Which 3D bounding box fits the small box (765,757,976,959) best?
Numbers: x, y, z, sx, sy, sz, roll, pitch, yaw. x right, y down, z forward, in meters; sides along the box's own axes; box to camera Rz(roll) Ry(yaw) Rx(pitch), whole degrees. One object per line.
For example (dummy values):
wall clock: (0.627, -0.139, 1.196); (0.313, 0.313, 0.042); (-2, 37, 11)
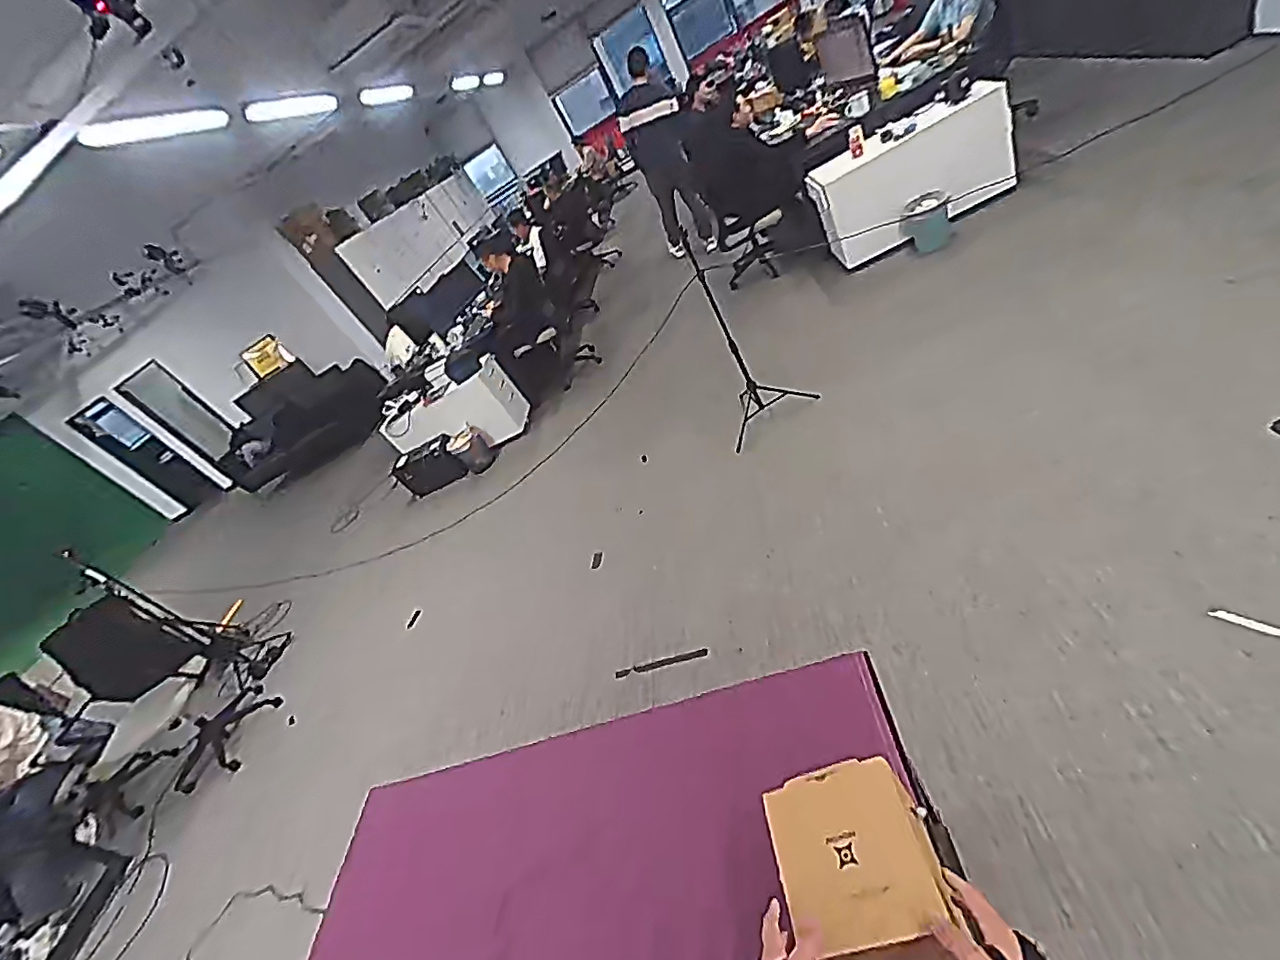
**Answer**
small box: (0.278, 0.483, 0.667); (0.168, 0.176, 0.179); (-27, 33, 15)
